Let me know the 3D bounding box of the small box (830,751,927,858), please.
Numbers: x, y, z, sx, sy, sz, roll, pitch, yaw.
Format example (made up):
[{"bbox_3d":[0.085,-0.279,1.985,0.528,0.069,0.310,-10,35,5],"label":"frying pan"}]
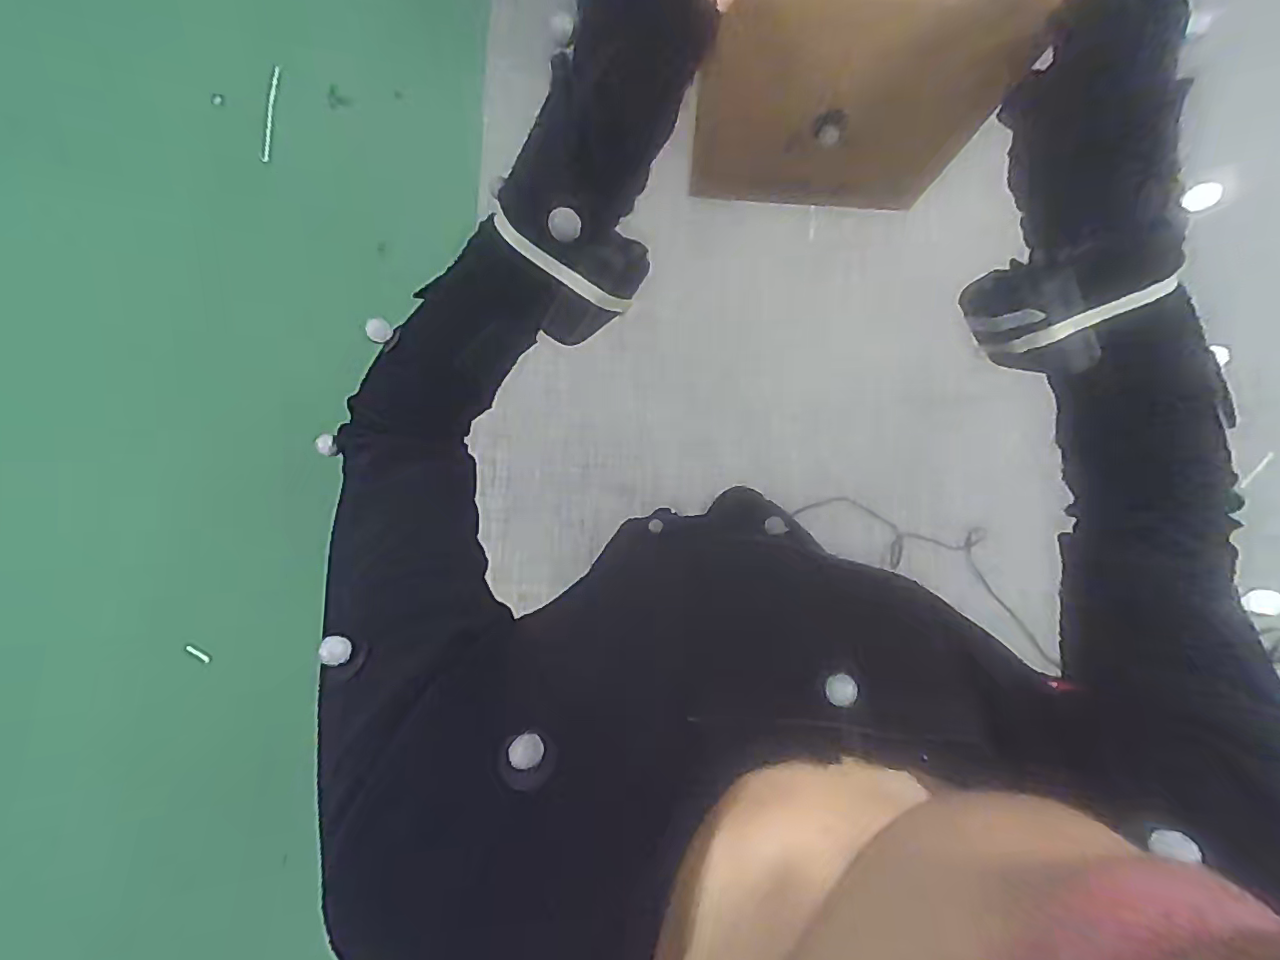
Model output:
[{"bbox_3d":[0.578,0.788,1.327,0.168,0.176,0.179,-1,83,1],"label":"small box"}]

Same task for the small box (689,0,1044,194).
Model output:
[{"bbox_3d":[0.121,-0.304,0.327,0.168,0.176,0.179,4,83,0],"label":"small box"}]
